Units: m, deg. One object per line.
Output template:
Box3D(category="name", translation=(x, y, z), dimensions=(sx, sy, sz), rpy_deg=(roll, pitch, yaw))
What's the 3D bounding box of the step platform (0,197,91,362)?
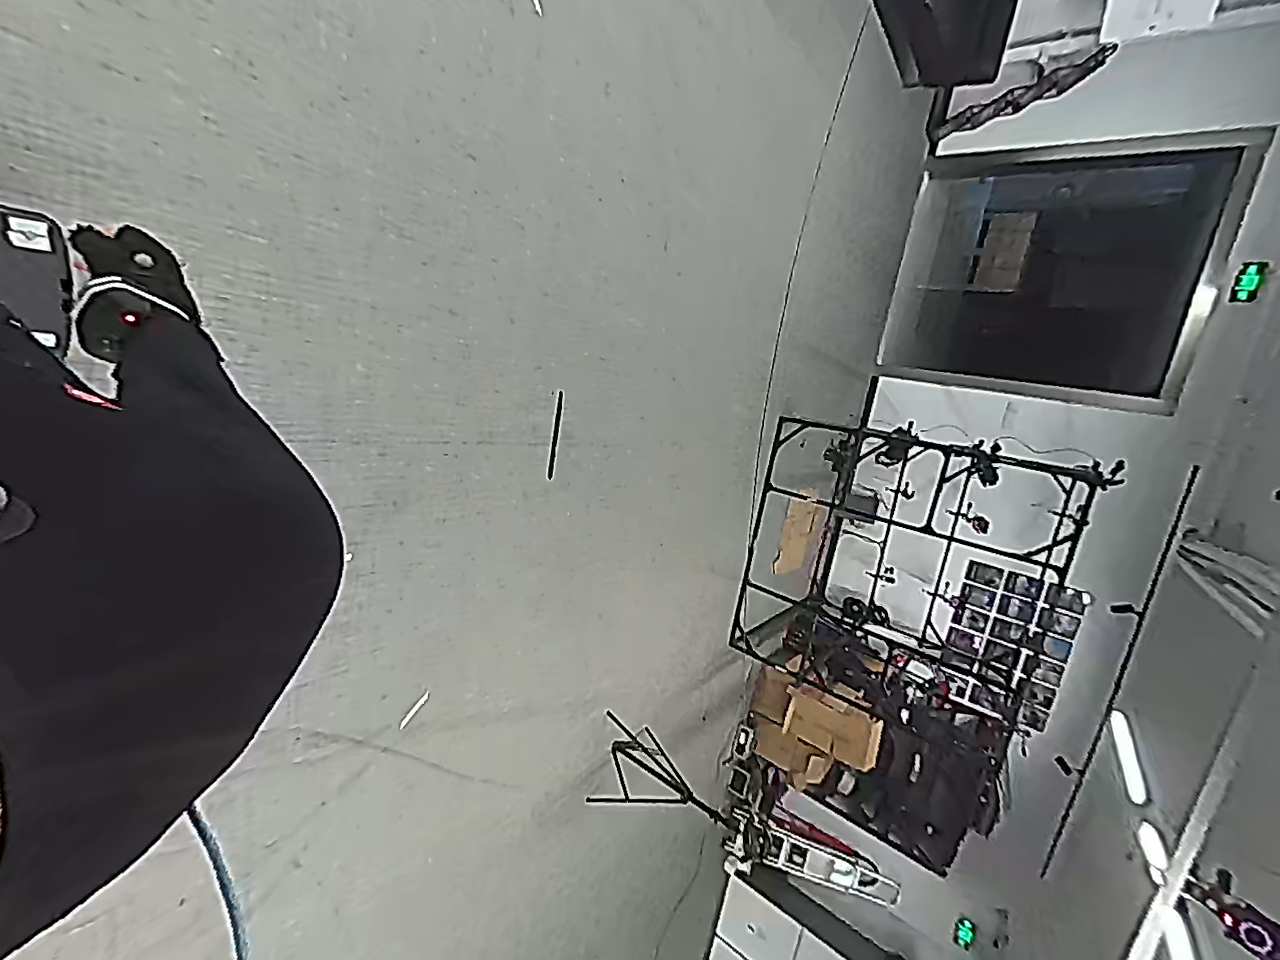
Box3D(category="step platform", translation=(-1.314, -0.359, 0.817), dimensions=(0.684, 0.204, 0.286), rpy_deg=(-7, 110, -55))
